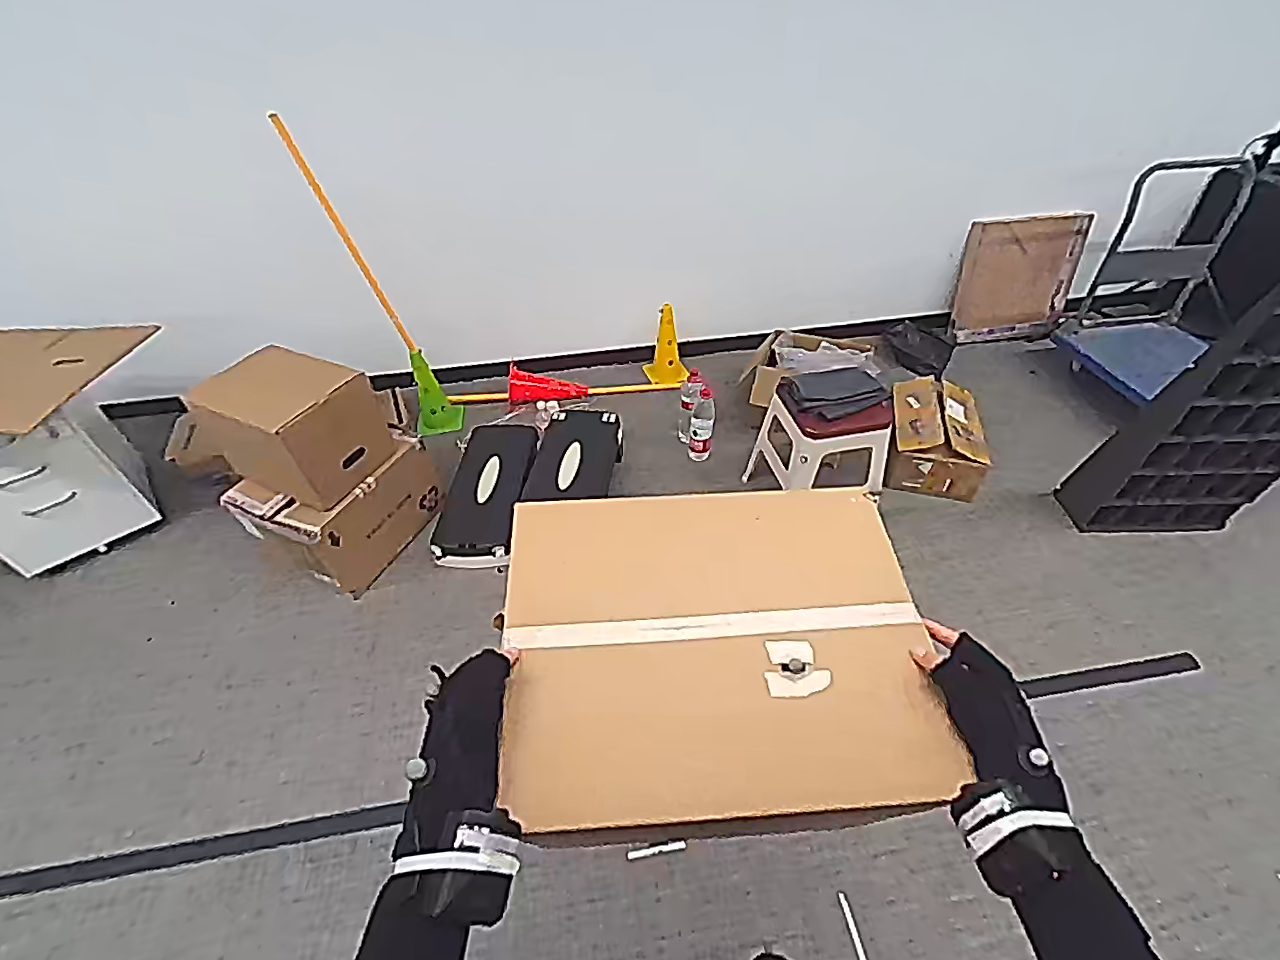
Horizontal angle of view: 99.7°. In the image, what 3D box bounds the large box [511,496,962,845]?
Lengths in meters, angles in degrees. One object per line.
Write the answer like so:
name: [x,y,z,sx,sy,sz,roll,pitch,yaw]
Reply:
large box: [0.073,0.241,0.668,0.408,0.320,0.320,-3,54,-3]
